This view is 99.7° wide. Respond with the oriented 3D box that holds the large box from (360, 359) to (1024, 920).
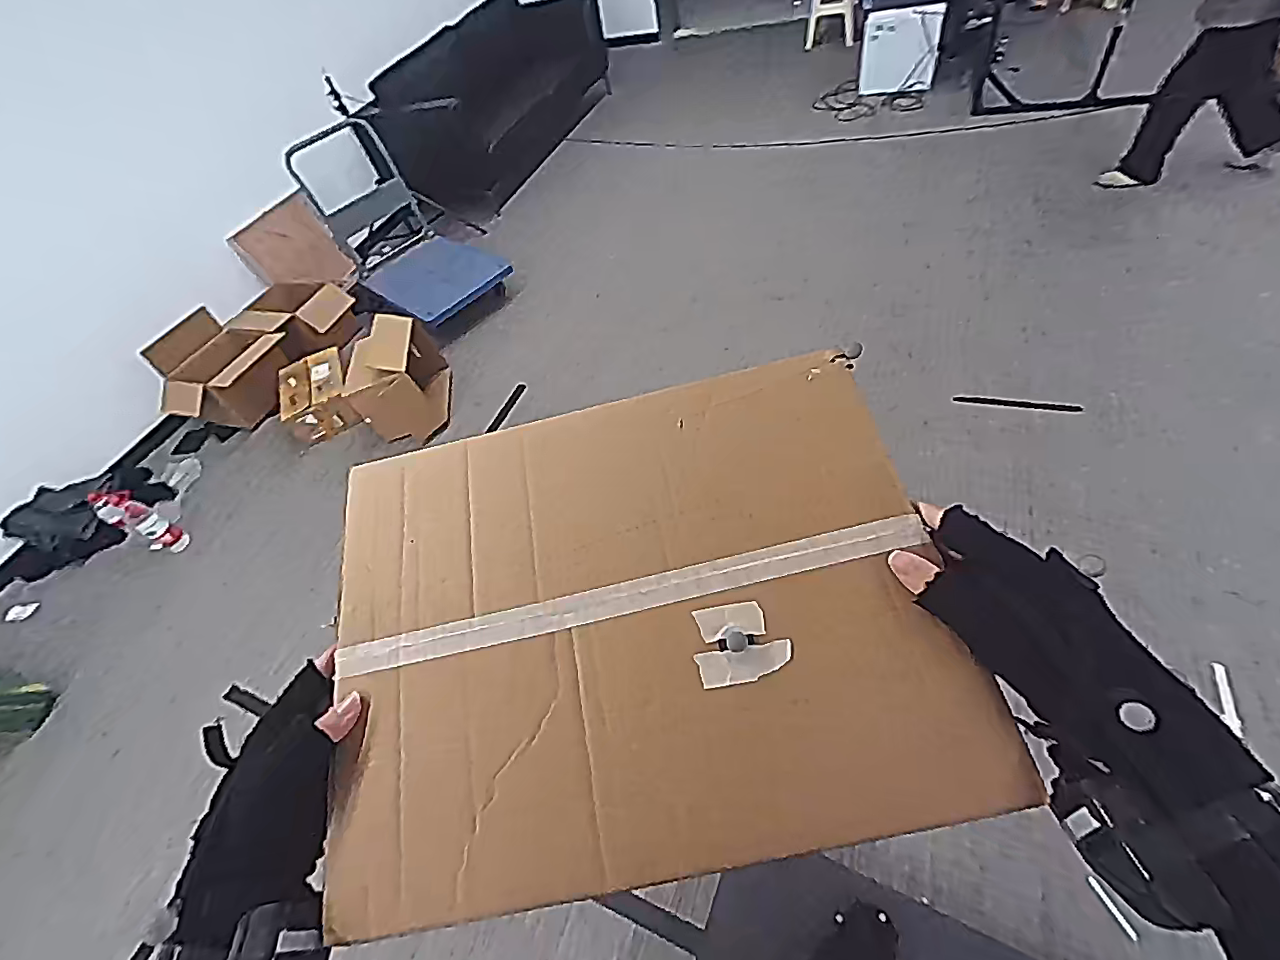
[{"bbox_3d":[0.017,0.144,0.510,0.408,0.320,0.320,-13,64,2],"label":"large box"}]
